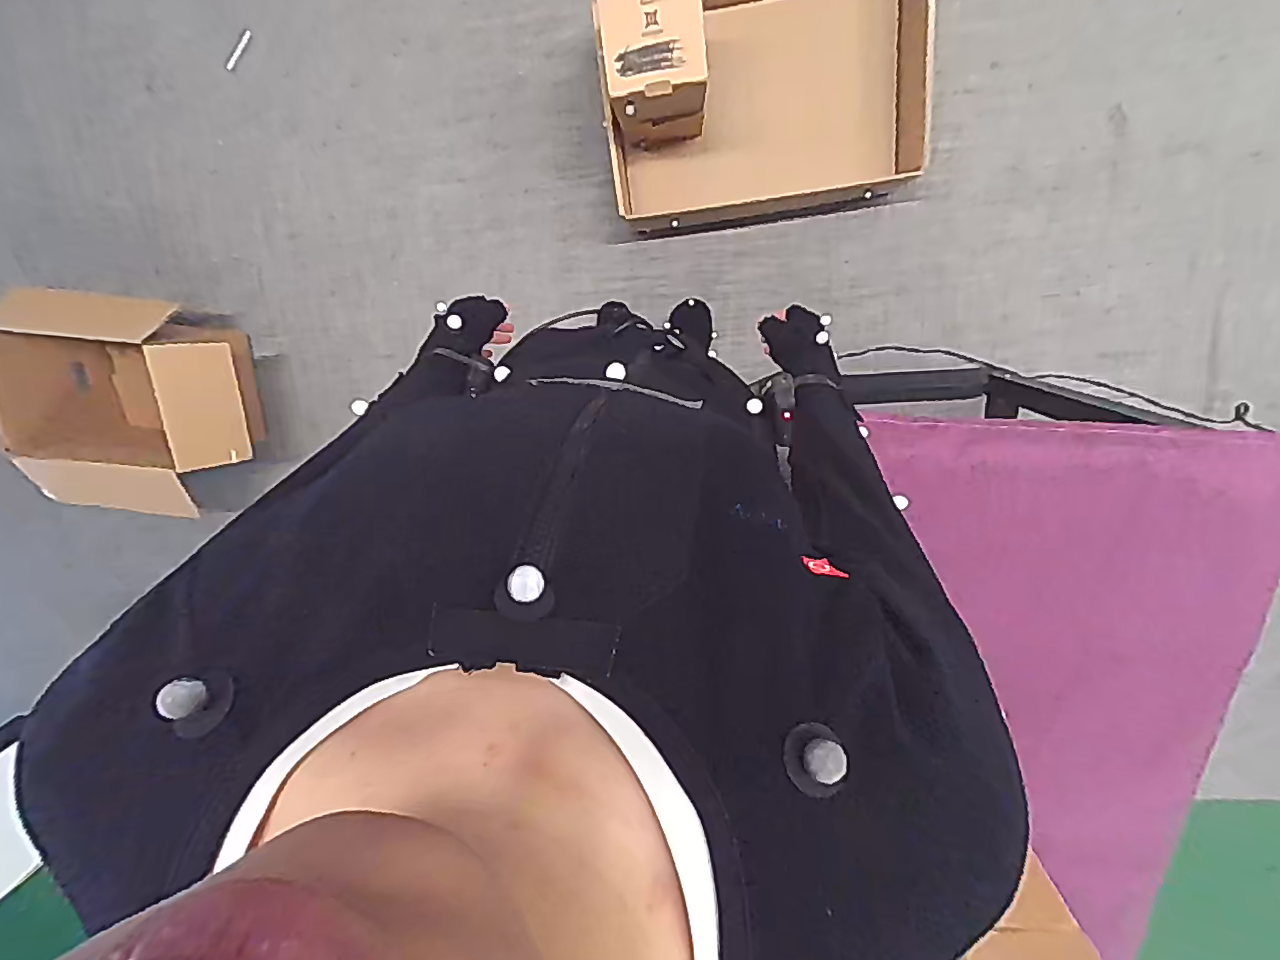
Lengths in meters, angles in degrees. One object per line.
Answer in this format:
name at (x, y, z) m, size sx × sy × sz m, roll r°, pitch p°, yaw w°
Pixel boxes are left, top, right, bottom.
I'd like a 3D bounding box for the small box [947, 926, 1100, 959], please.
small box at (0.519, 0.714, 0.691) m, size 0.179 × 0.176 × 0.168 m, roll -2°, pitch 109°, yaw 5°
